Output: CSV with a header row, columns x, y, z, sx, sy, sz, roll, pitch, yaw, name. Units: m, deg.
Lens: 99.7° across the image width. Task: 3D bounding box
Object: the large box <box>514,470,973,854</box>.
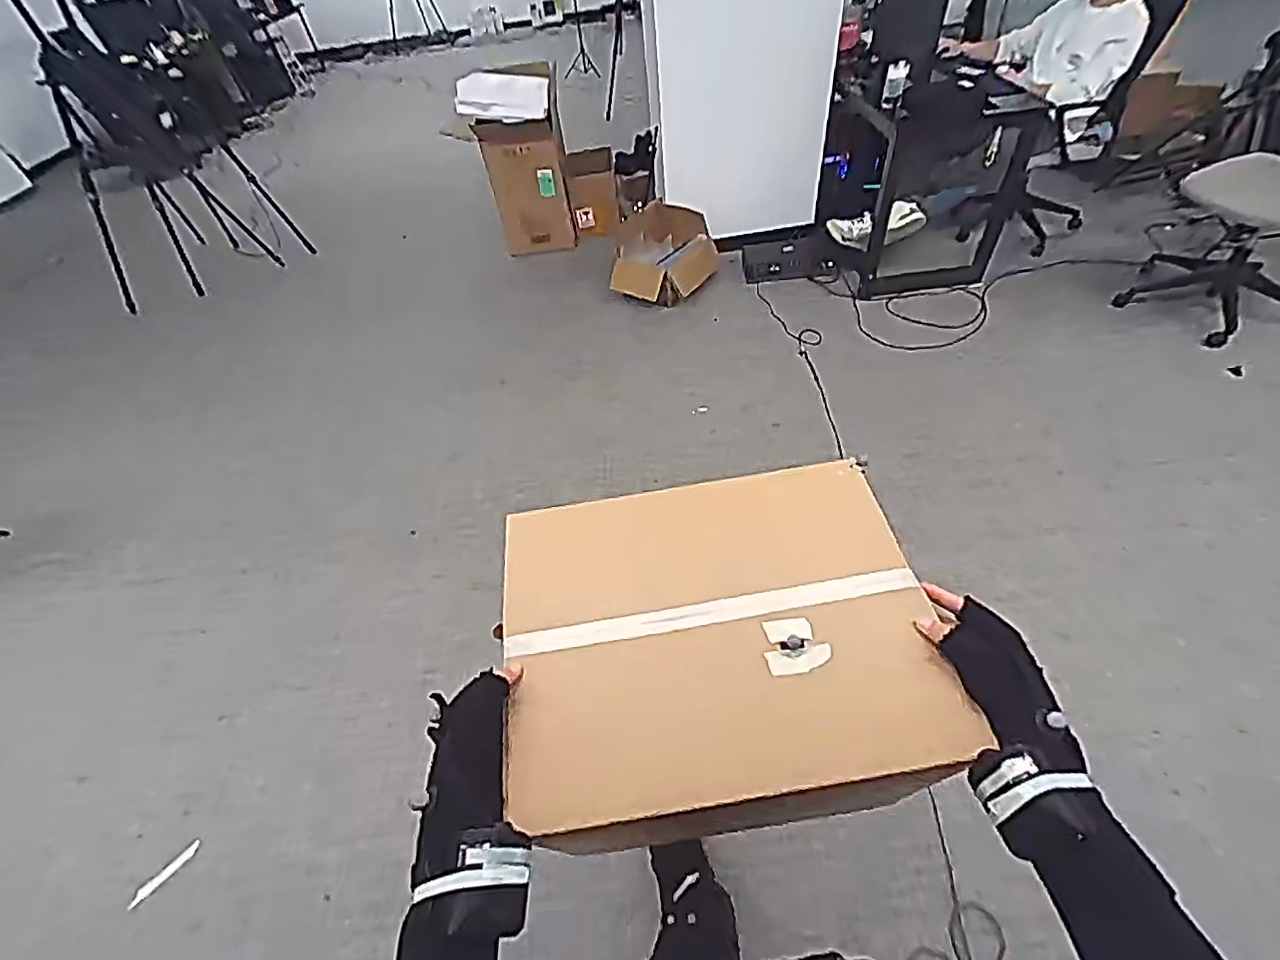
x,y,z,sx,sy,sz,roll,pitch,yaw,name
0.082,0.230,0.662,0.408,0.320,0.320,-9,53,-1,large box
